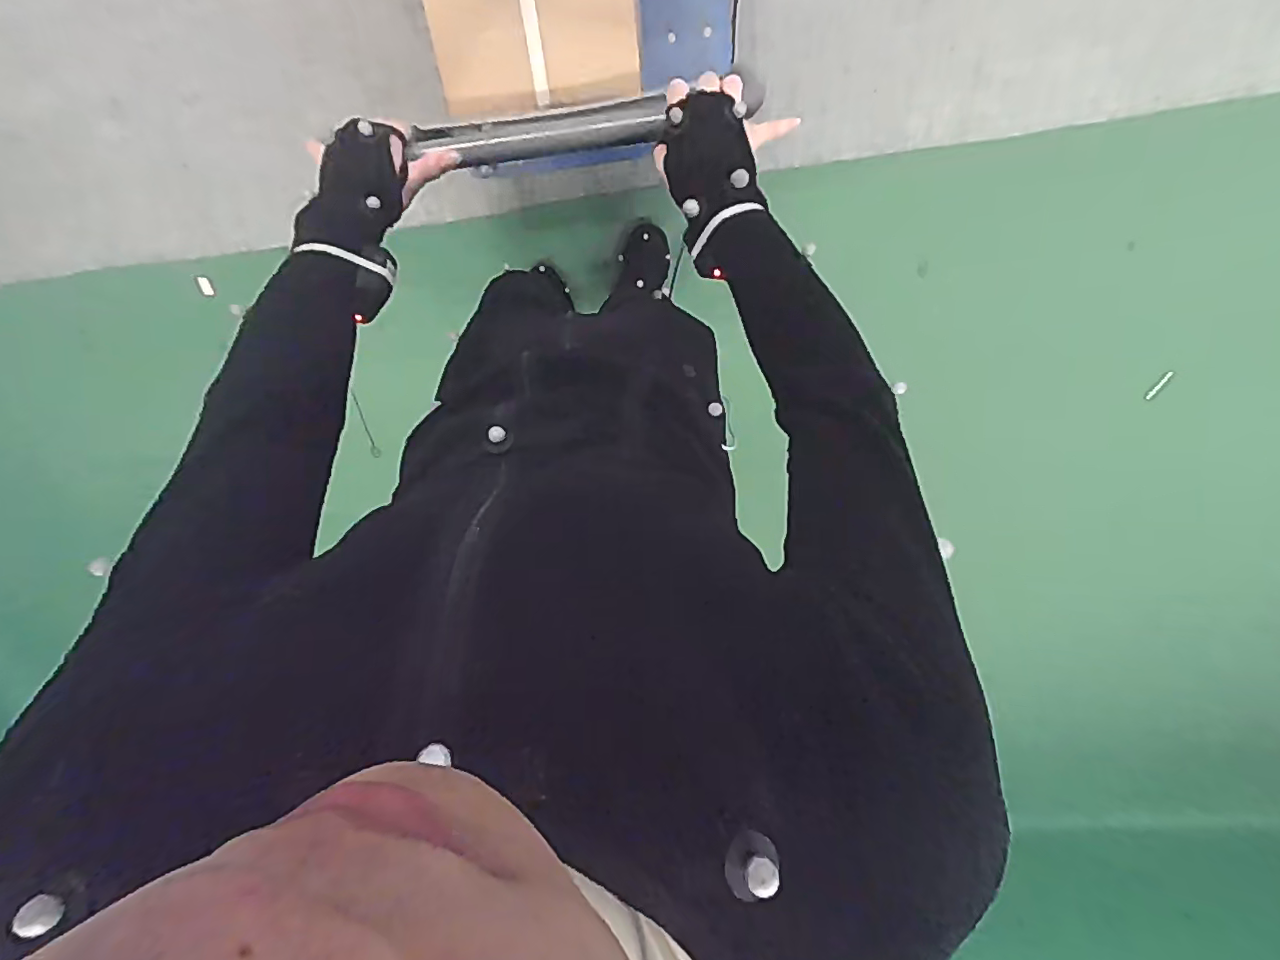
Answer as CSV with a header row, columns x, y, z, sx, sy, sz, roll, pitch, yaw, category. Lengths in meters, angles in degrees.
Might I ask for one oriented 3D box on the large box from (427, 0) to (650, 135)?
x,y,z,sx,sy,sz,roll,pitch,yaw,category
-0.163,-0.836,0.897,0.320,0.320,0.408,-5,120,5,large box
